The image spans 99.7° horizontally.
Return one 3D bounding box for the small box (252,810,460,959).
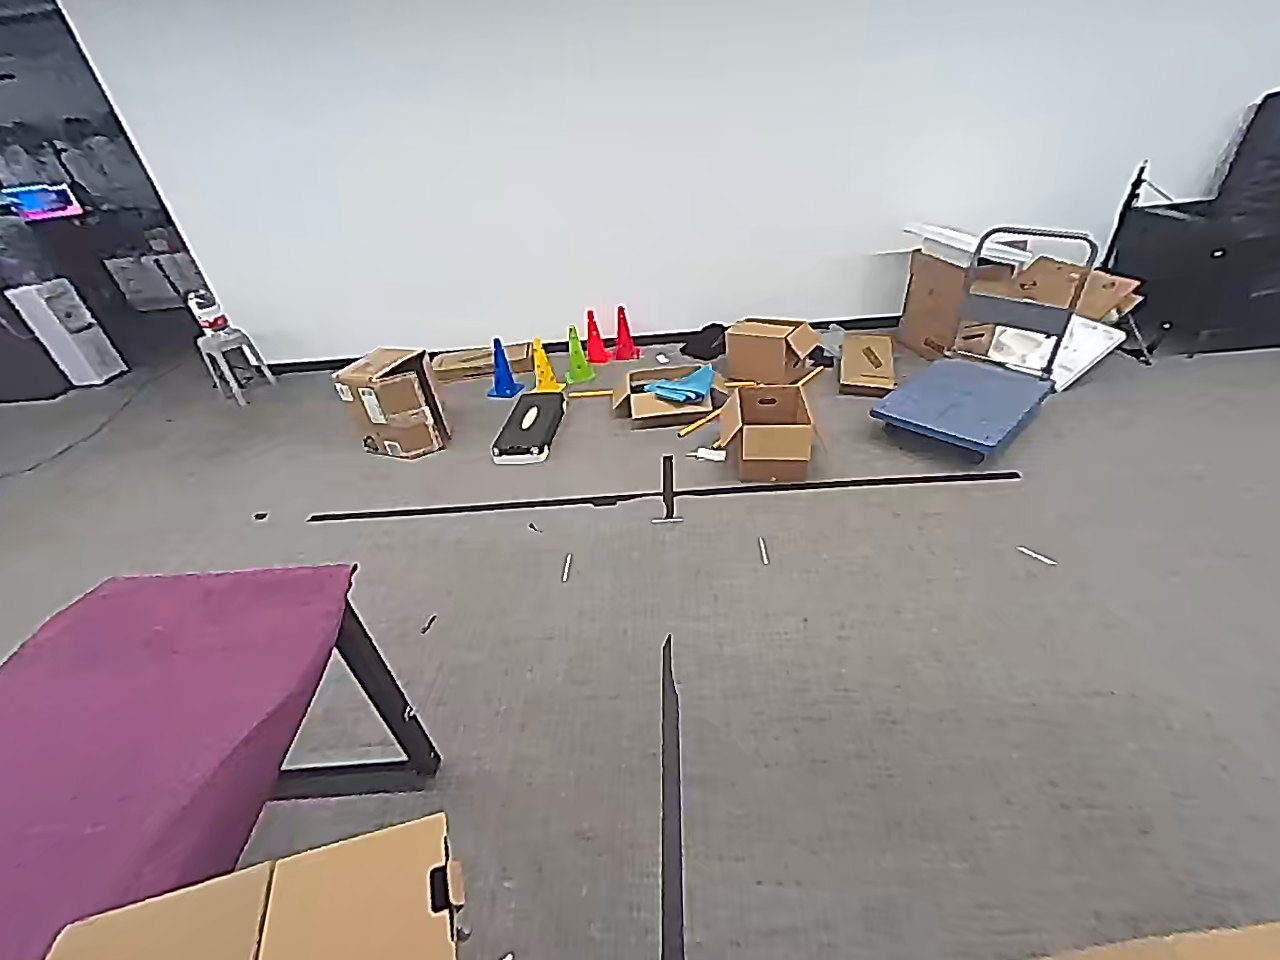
[{"bbox_3d":[-0.287,0.499,0.571,0.179,0.176,0.168,-4,30,-21],"label":"small box"}]
